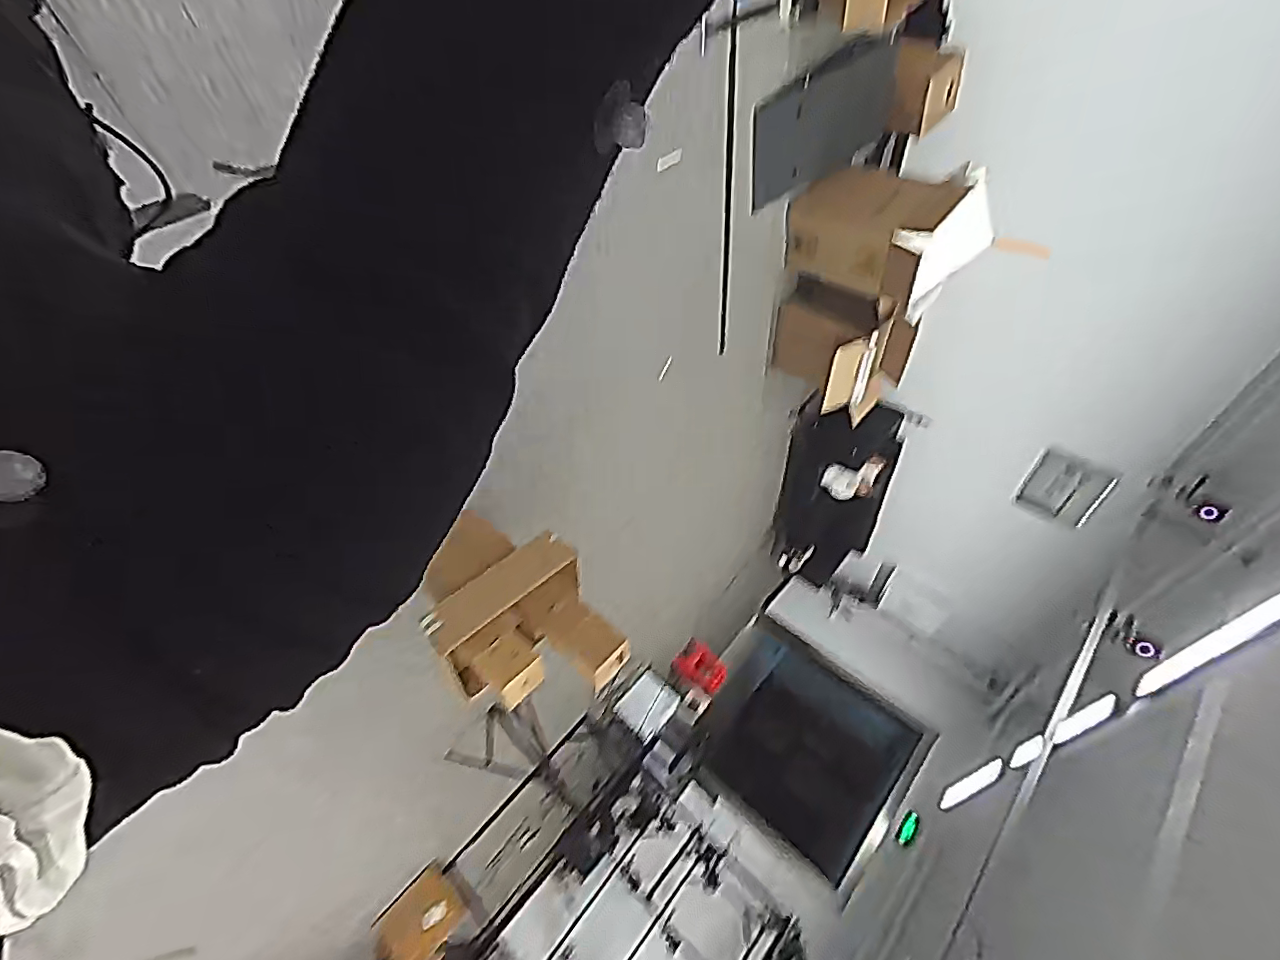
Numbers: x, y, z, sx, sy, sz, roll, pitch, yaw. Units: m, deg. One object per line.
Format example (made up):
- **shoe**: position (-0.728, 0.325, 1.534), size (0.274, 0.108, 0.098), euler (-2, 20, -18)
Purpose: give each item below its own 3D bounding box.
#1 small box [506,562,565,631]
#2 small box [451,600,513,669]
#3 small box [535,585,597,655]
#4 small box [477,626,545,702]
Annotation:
- **small box**: position (-0.415, 0.468, 2.191), size (0.179, 0.176, 0.168), euler (-38, 146, -30)
- **small box**: position (-0.588, 0.581, 2.039), size (0.168, 0.176, 0.179), euler (-38, 147, -31)
- **small box**: position (-0.288, 0.544, 2.119), size (0.168, 0.176, 0.179), euler (-41, 148, -30)
- **small box**: position (-0.468, 0.661, 1.962), size (0.168, 0.176, 0.179), euler (-38, 147, -31)
